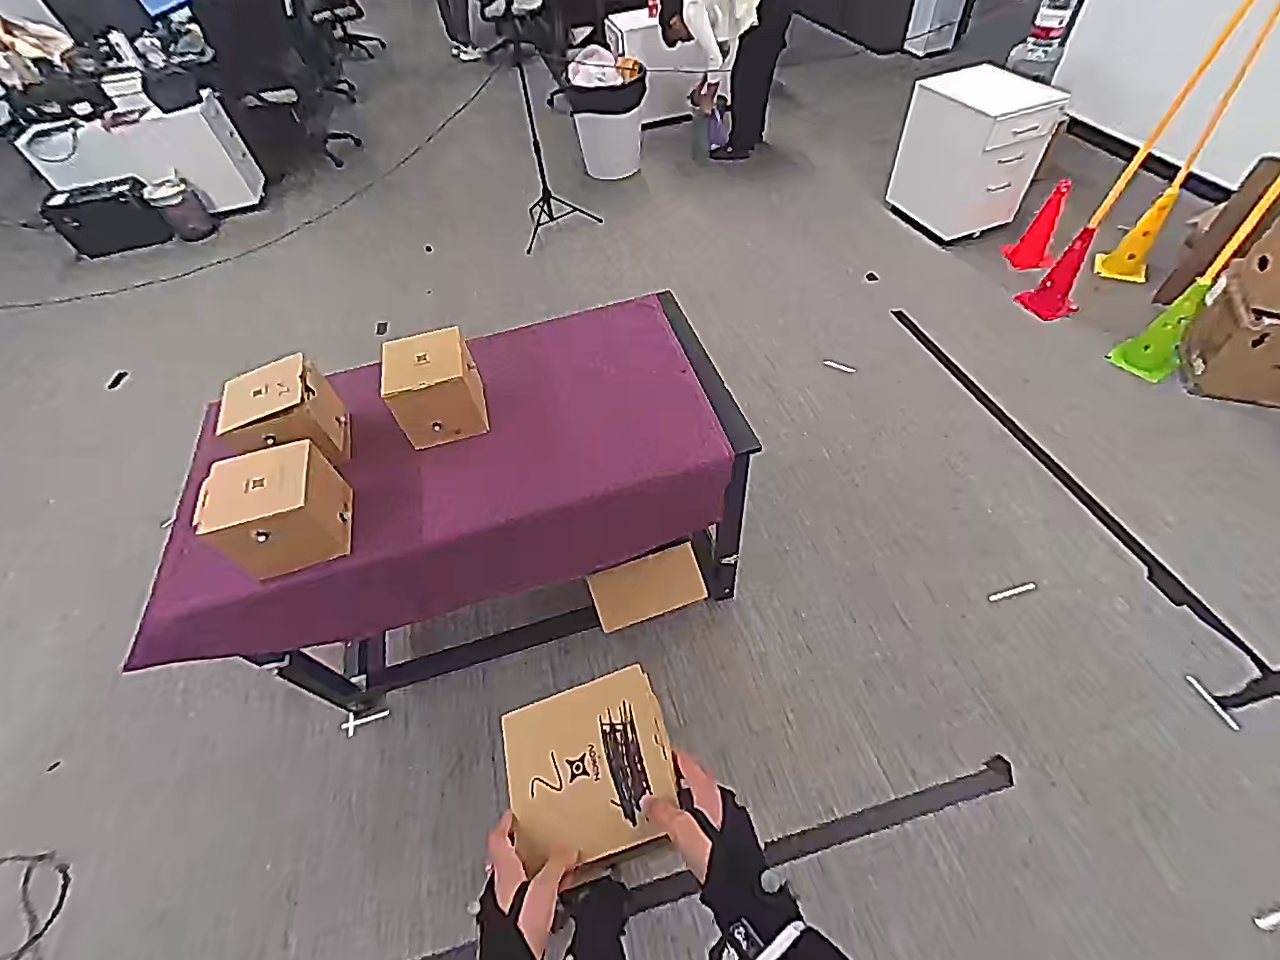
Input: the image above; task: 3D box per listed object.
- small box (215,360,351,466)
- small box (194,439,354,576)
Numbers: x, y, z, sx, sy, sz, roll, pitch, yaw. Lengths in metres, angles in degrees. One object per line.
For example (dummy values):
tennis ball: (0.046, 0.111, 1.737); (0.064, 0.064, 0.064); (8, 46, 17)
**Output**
small box: (-0.744, -0.121, 1.146); (0.179, 0.176, 0.168); (-17, 54, -8)
small box: (-0.663, 0.056, 1.003); (0.179, 0.176, 0.168); (-16, 53, -7)
